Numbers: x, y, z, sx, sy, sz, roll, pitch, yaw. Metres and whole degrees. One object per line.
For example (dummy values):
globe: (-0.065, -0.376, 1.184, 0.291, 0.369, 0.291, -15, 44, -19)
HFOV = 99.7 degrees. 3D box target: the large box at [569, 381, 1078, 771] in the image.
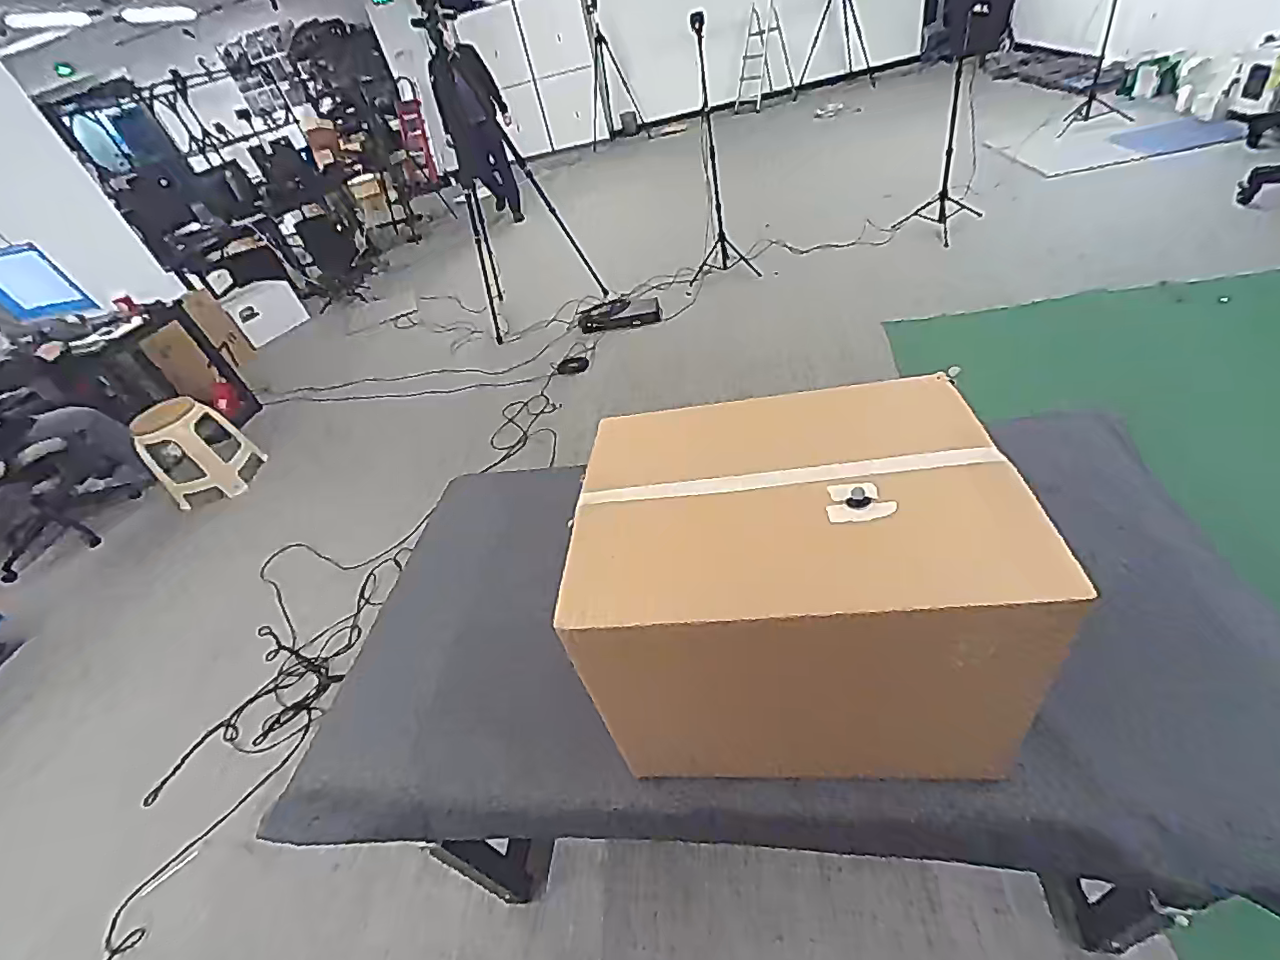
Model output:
large box: (0.167, 0.117, 0.634, 0.408, 0.320, 0.320, -6, 41, 10)
